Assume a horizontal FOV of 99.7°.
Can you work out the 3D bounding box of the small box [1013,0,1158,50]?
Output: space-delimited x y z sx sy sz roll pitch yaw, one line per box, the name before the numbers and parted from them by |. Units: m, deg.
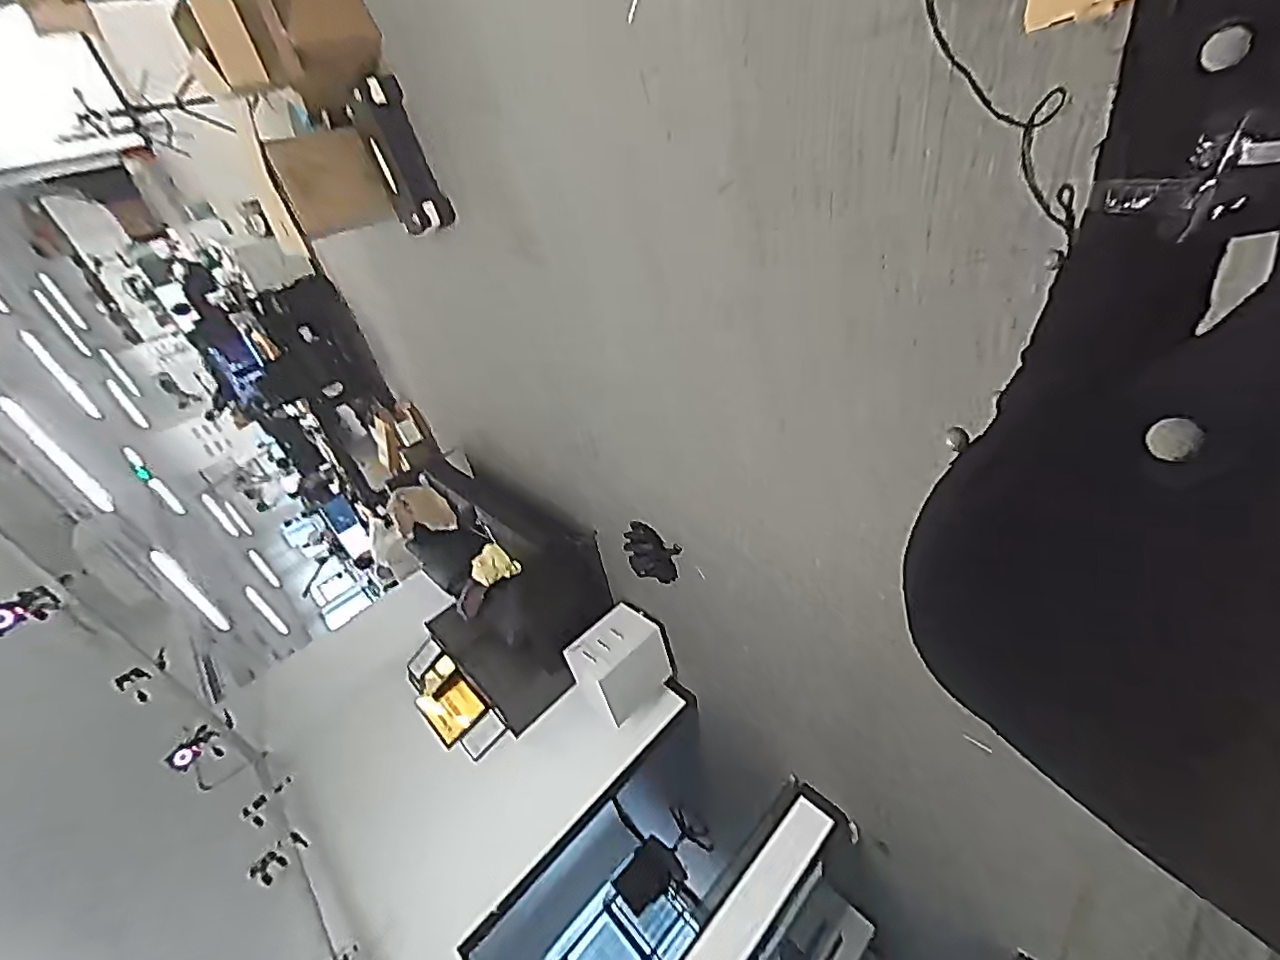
small box | 0.637 -0.734 0.738 0.168 0.176 0.179 16 132 49
